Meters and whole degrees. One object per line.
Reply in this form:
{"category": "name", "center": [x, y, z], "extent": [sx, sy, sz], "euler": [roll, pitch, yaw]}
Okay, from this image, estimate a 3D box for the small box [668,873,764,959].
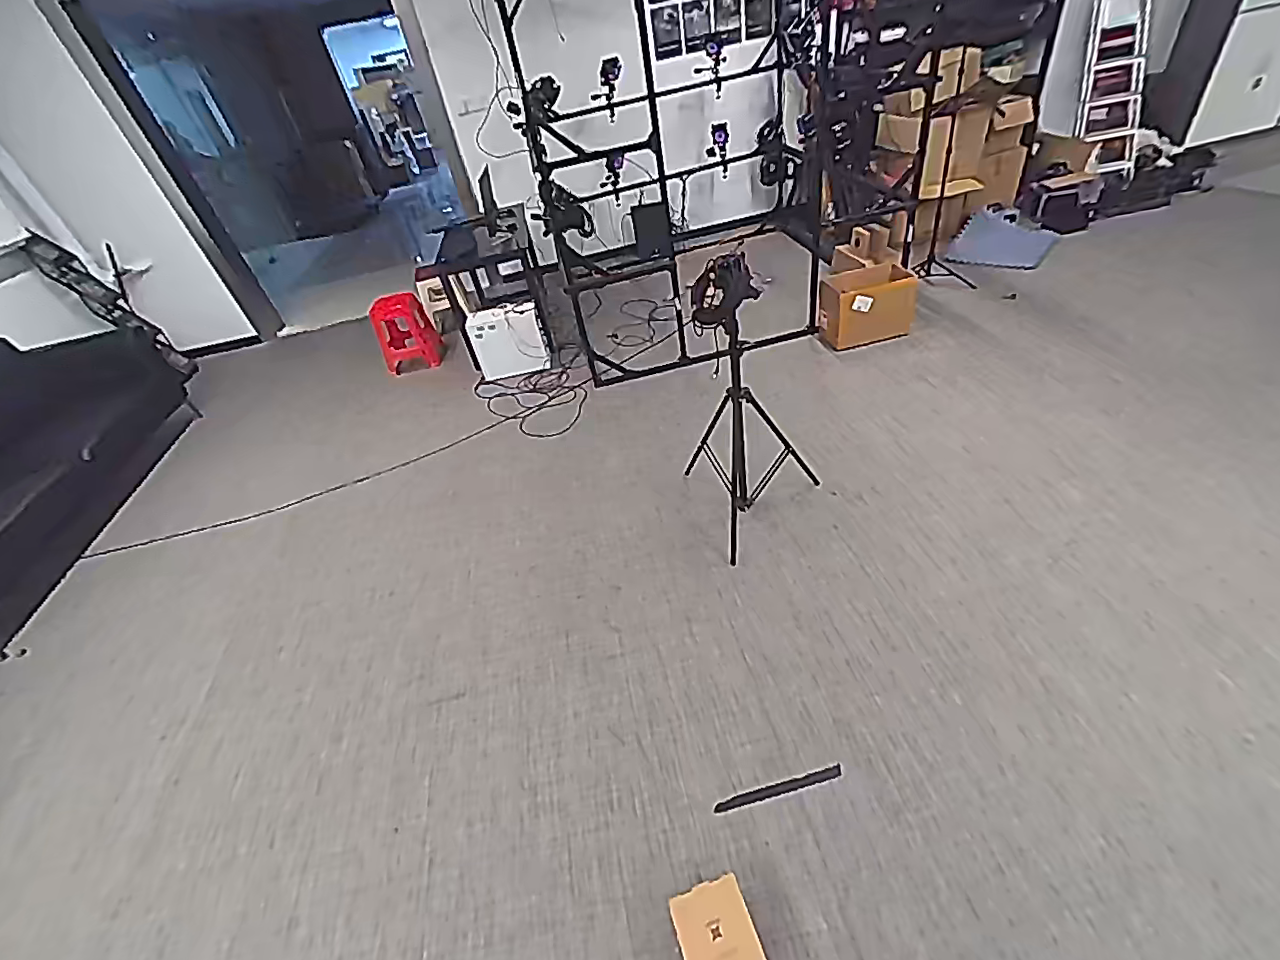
{"category": "small box", "center": [0.174, 1.043, 1.226], "extent": [0.168, 0.176, 0.179], "euler": [-19, 40, -6]}
